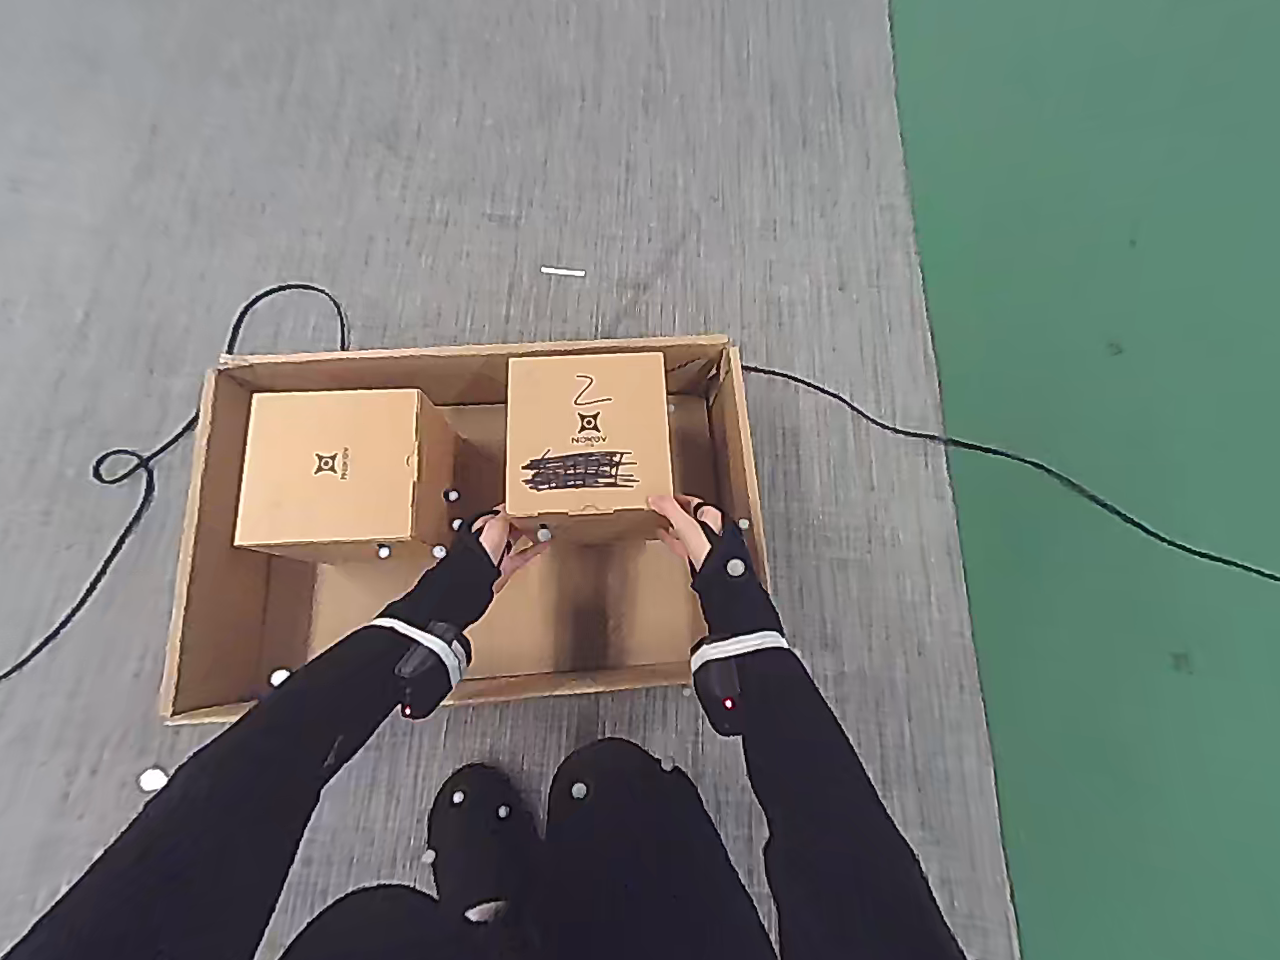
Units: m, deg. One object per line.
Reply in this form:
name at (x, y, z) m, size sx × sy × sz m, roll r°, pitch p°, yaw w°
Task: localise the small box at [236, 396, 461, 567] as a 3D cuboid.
small box at (-0.327, 0.010, 0.644) m, size 0.179 × 0.176 × 0.168 m, roll -2°, pitch 75°, yaw -4°
